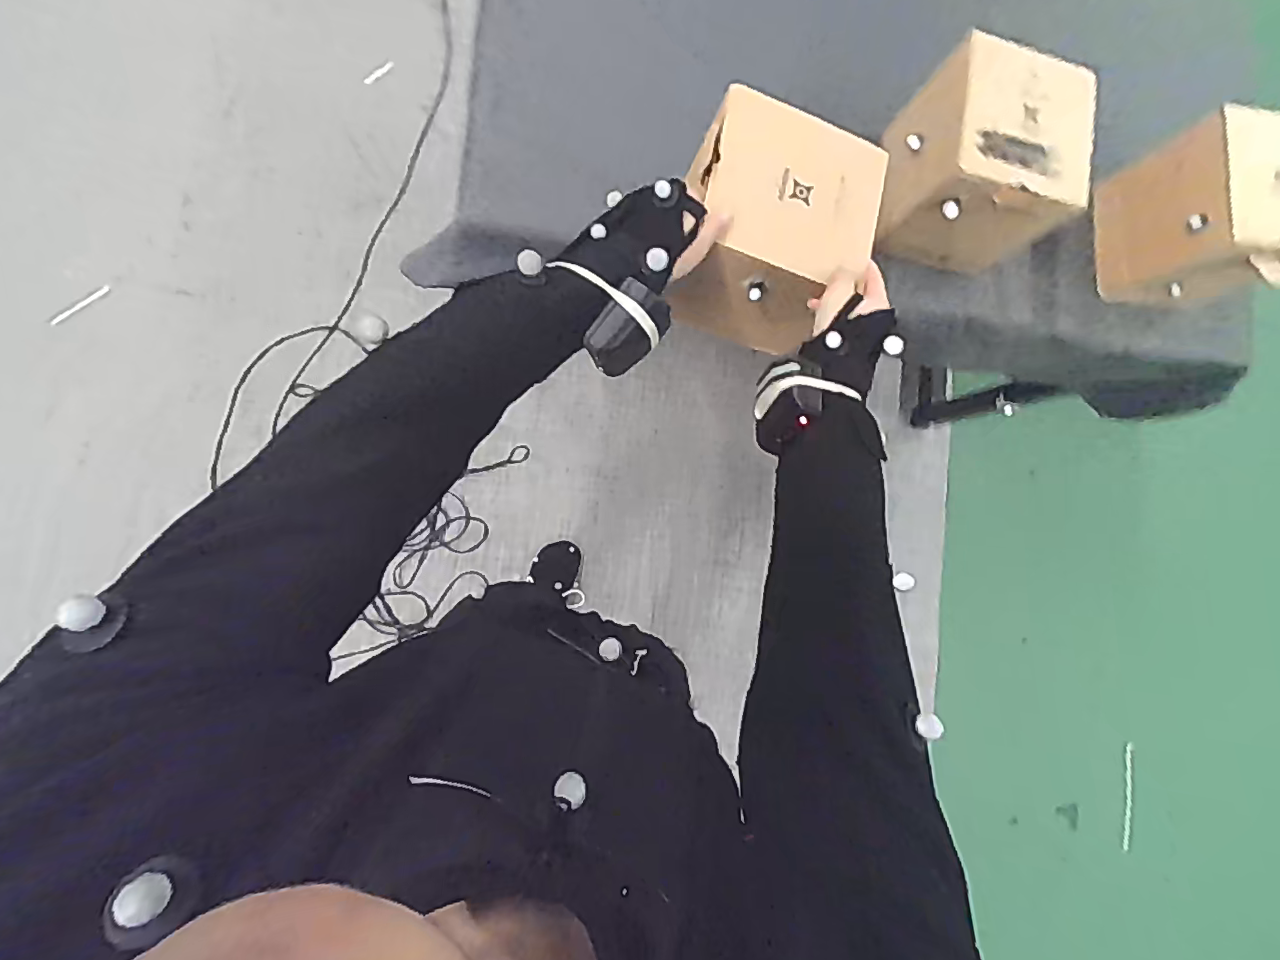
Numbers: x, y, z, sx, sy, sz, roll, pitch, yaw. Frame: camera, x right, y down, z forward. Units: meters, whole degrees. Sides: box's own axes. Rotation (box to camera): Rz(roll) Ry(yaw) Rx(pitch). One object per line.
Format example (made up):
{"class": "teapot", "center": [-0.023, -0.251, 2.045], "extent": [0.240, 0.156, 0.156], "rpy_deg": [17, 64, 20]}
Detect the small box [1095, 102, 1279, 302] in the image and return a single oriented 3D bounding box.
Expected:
{"class": "small box", "center": [0.775, -0.369, 0.746], "extent": [0.168, 0.176, 0.179], "rpy_deg": [1, 86, -10]}

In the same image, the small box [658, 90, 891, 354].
{"class": "small box", "center": [0.133, -0.257, 0.586], "extent": [0.179, 0.176, 0.168], "rpy_deg": [16, 79, -13]}
